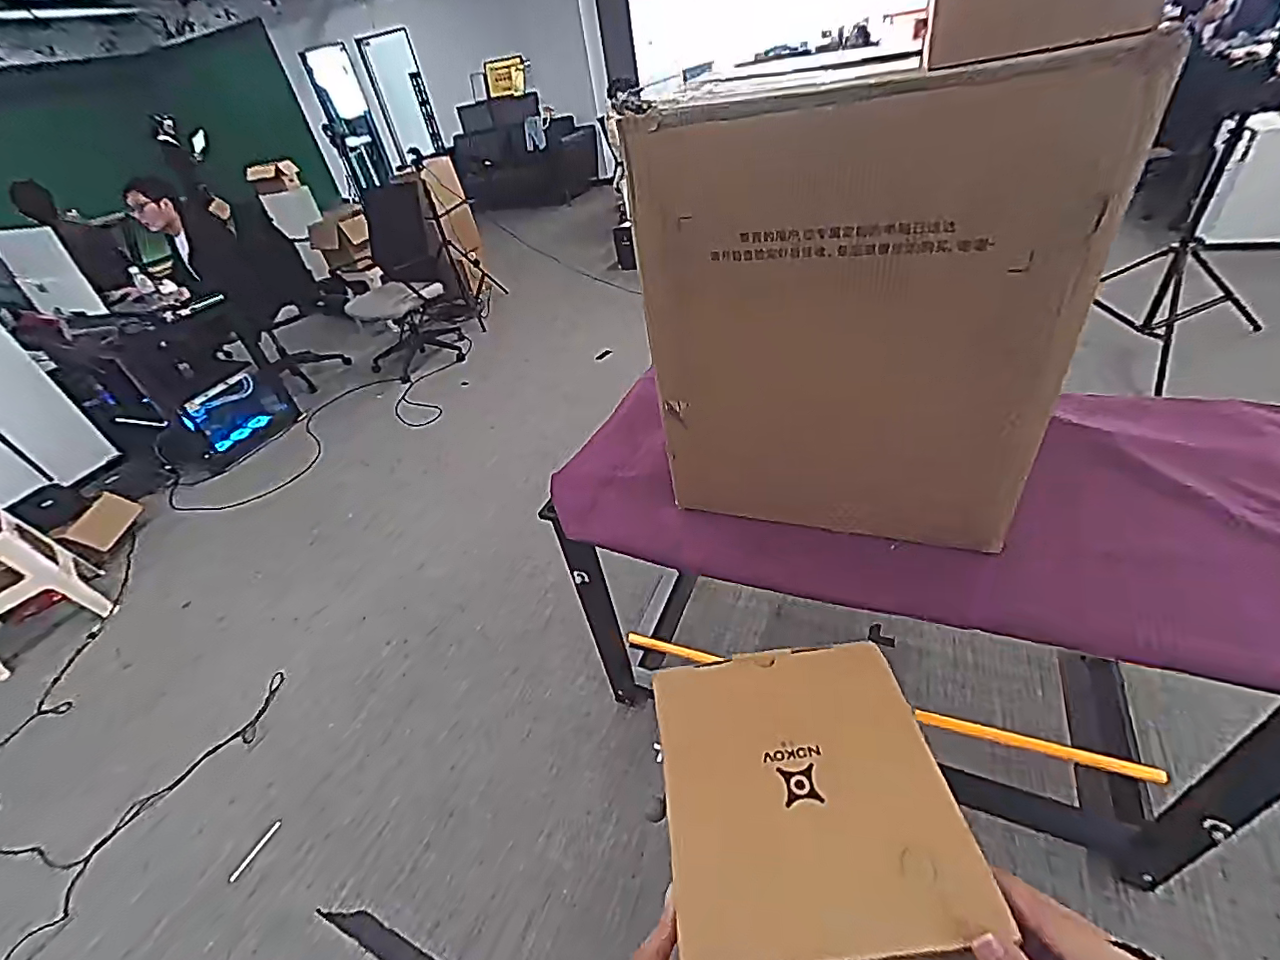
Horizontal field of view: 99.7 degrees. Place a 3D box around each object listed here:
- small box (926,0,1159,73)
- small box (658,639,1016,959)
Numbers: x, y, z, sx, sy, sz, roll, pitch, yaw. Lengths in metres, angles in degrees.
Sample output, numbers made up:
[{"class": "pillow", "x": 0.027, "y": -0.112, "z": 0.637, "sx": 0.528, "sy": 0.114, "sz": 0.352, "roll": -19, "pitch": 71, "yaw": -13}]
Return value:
[{"class": "small box", "x": 0.362, "y": -0.488, "z": 0.485, "sx": 0.179, "sy": 0.176, "sz": 0.168, "roll": 5, "pitch": 42, "yaw": 22}, {"class": "small box", "x": 0.111, "y": 0.244, "z": 0.377, "sx": 0.168, "sy": 0.176, "sz": 0.179, "roll": -9, "pitch": 36, "yaw": 2}]
